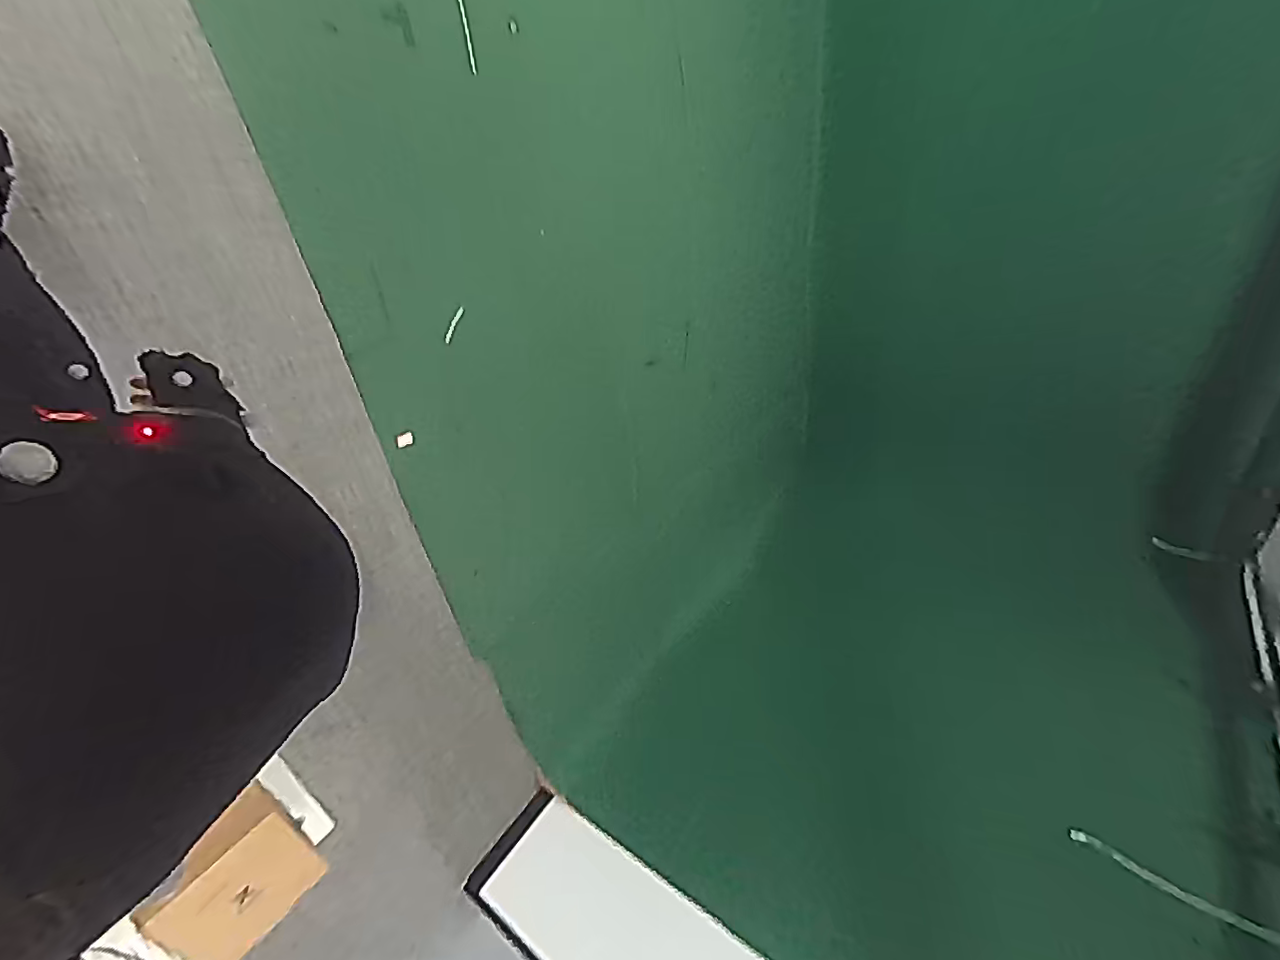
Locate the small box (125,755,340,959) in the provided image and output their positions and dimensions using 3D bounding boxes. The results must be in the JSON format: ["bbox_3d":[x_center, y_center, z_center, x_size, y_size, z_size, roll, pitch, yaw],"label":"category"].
[{"bbox_3d":[-0.588,0.543,0.788,0.168,0.176,0.179,-41,132,-38],"label":"small box"}]
